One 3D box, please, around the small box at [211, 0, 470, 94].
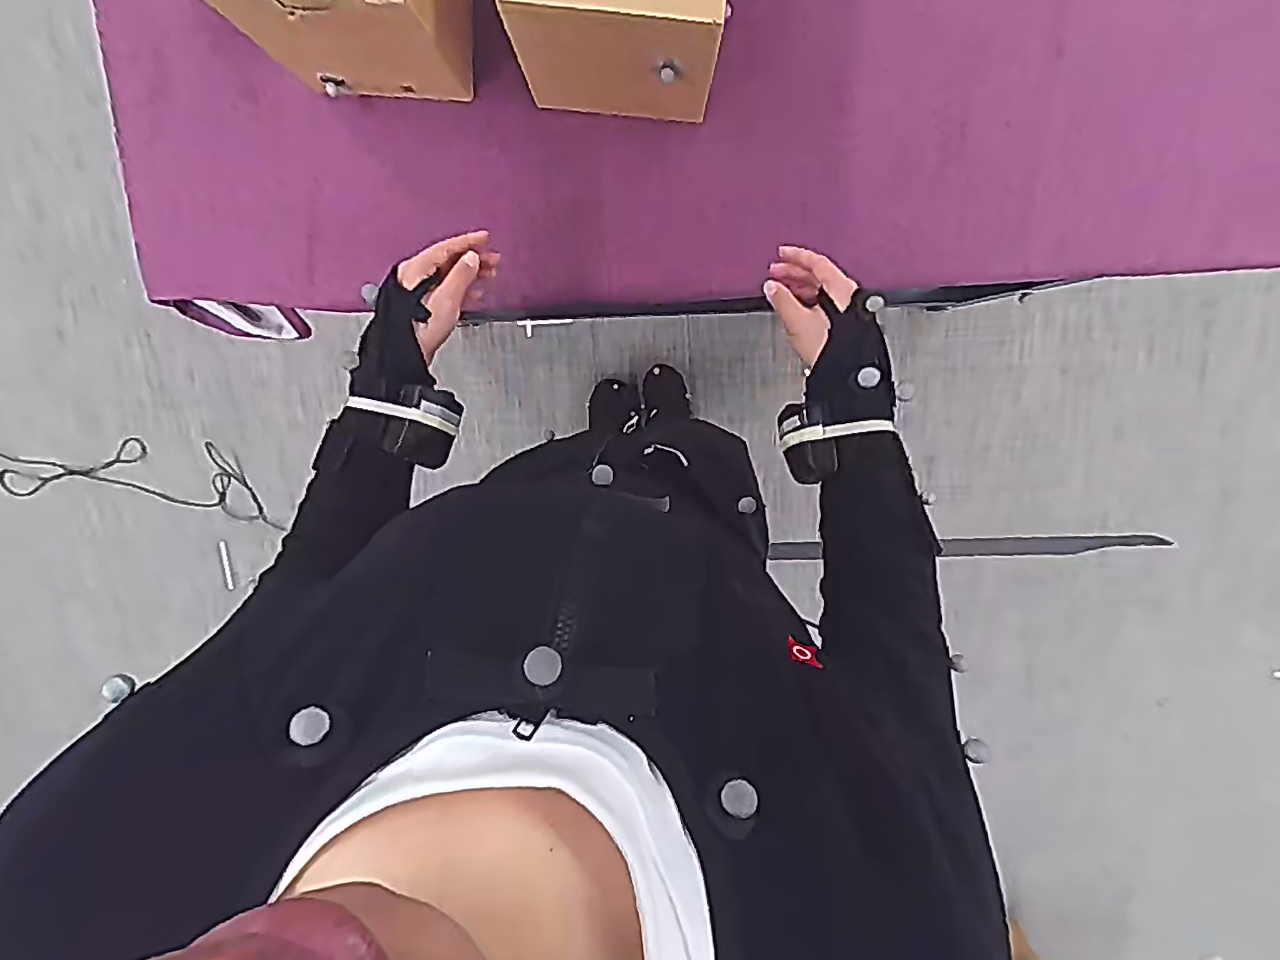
[{"bbox_3d":[-0.252,-0.470,0.468,0.168,0.176,0.179,3,102,-1],"label":"small box"}]
